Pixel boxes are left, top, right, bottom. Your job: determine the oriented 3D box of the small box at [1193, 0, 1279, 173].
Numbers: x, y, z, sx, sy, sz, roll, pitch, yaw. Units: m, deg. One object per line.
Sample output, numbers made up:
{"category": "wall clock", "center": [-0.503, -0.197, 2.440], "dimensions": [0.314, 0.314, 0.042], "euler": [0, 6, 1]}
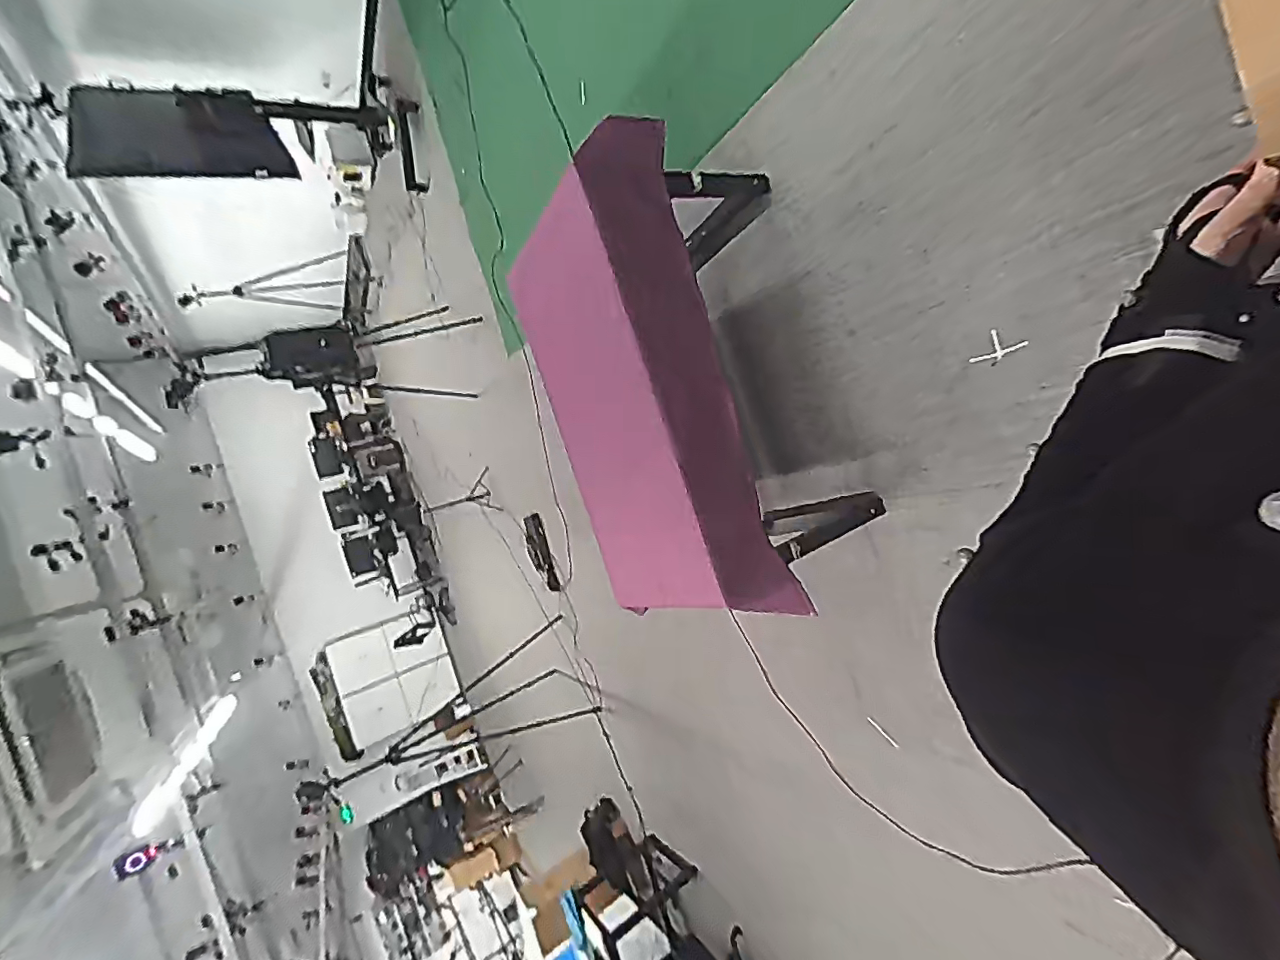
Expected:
{"category": "small box", "center": [0.444, -0.300, 0.300], "dimensions": [0.168, 0.176, 0.179], "euler": [-14, 93, 56]}
